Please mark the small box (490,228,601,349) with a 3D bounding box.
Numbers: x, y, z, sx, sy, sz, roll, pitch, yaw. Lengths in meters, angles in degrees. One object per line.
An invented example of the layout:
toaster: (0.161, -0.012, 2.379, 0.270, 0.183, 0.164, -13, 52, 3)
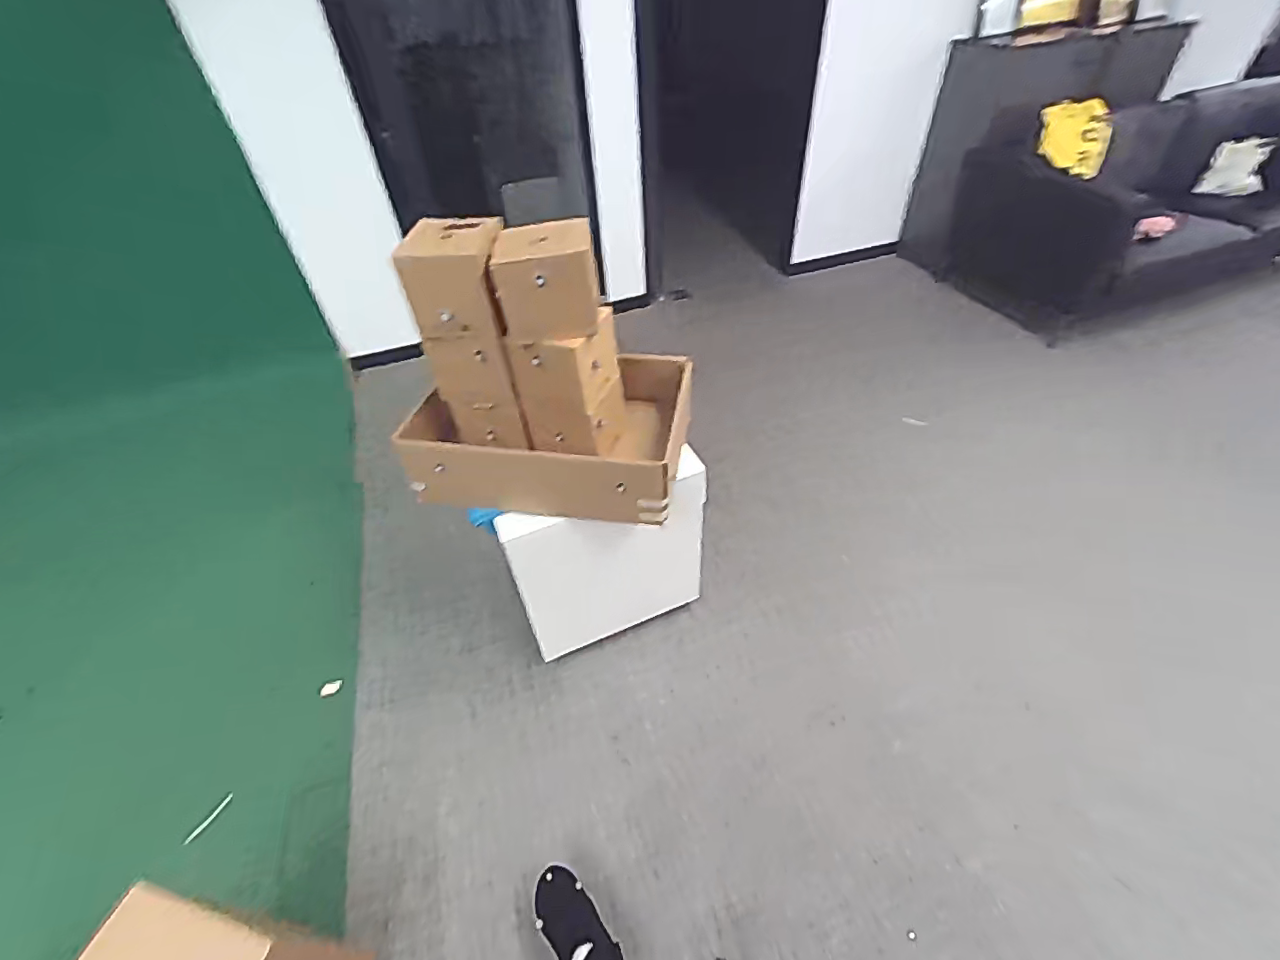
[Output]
small box: (-0.176, -0.372, 1.065, 0.179, 0.176, 0.168, -7, 43, 2)
